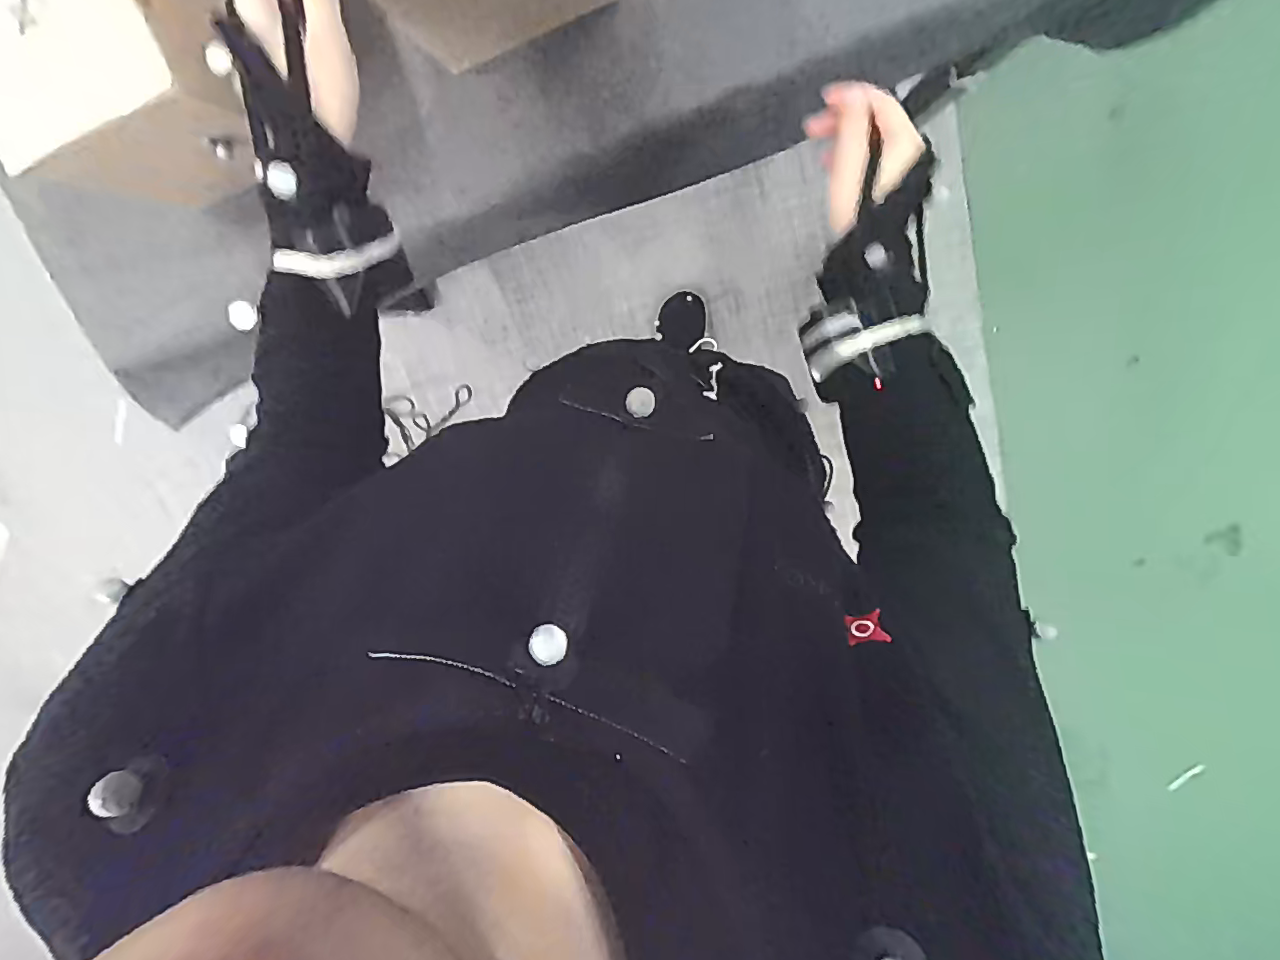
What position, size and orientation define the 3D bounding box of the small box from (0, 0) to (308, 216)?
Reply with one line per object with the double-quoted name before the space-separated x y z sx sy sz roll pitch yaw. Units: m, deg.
"small box" -0.433 -0.355 0.471 0.179 0.176 0.168 -17 104 13
